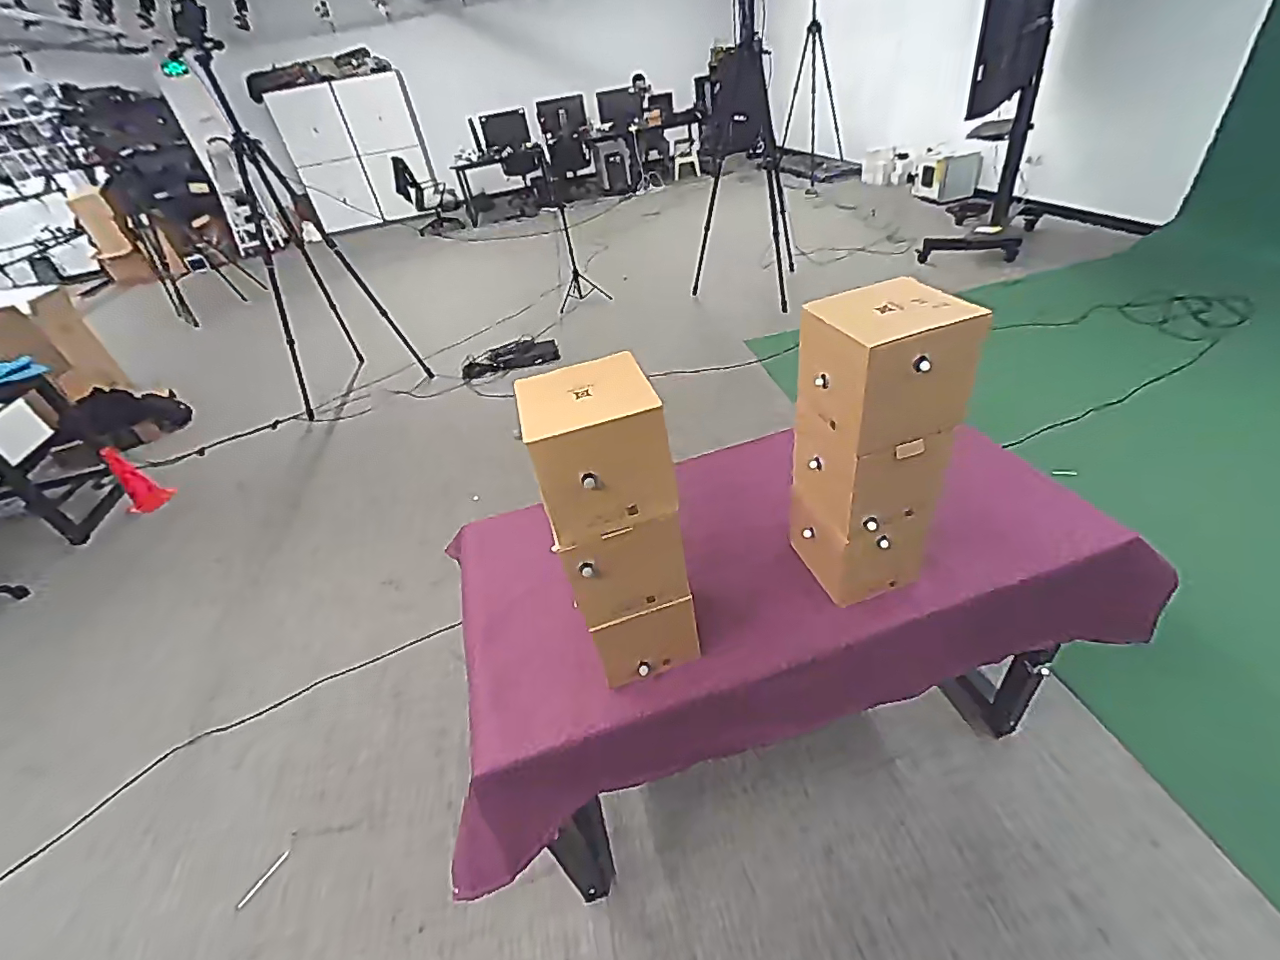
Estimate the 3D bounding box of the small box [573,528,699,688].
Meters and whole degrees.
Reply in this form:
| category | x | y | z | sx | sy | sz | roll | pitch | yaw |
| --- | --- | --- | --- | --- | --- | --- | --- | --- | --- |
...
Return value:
| category | x | y | z | sx | sy | sz | roll | pitch | yaw |
| --- | --- | --- | --- | --- | --- | --- | --- | --- | --- |
| small box | -0.007 | 0.217 | 0.921 | 0.168 | 0.176 | 0.179 | -17 | 39 | -6 |

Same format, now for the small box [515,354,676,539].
| category | x | y | z | sx | sy | sz | roll | pitch | yaw |
| --- | --- | --- | --- | --- | --- | --- | --- | --- | --- |
| small box | -0.058 | -0.041 | 0.725 | 0.168 | 0.176 | 0.179 | -17 | 36 | -6 |

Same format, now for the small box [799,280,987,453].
| category | x | y | z | sx | sy | sz | roll | pitch | yaw |
| --- | --- | --- | --- | --- | --- | --- | --- | --- | --- |
| small box | 0.344 | -0.161 | 0.771 | 0.179 | 0.176 | 0.168 | -16 | 39 | -7 |

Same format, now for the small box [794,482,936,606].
| category | x | y | z | sx | sy | sz | roll | pitch | yaw |
| --- | --- | --- | --- | --- | --- | --- | --- | --- | --- |
| small box | 0.391 | 0.093 | 0.975 | 0.168 | 0.176 | 0.179 | -18 | 37 | -6 |

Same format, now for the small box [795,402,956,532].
| category | x | y | z | sx | sy | sz | roll | pitch | yaw |
| --- | --- | --- | --- | --- | --- | --- | --- | --- | --- |
| small box | 0.367 | -0.035 | 0.876 | 0.168 | 0.176 | 0.179 | -17 | 38 | -8 |
